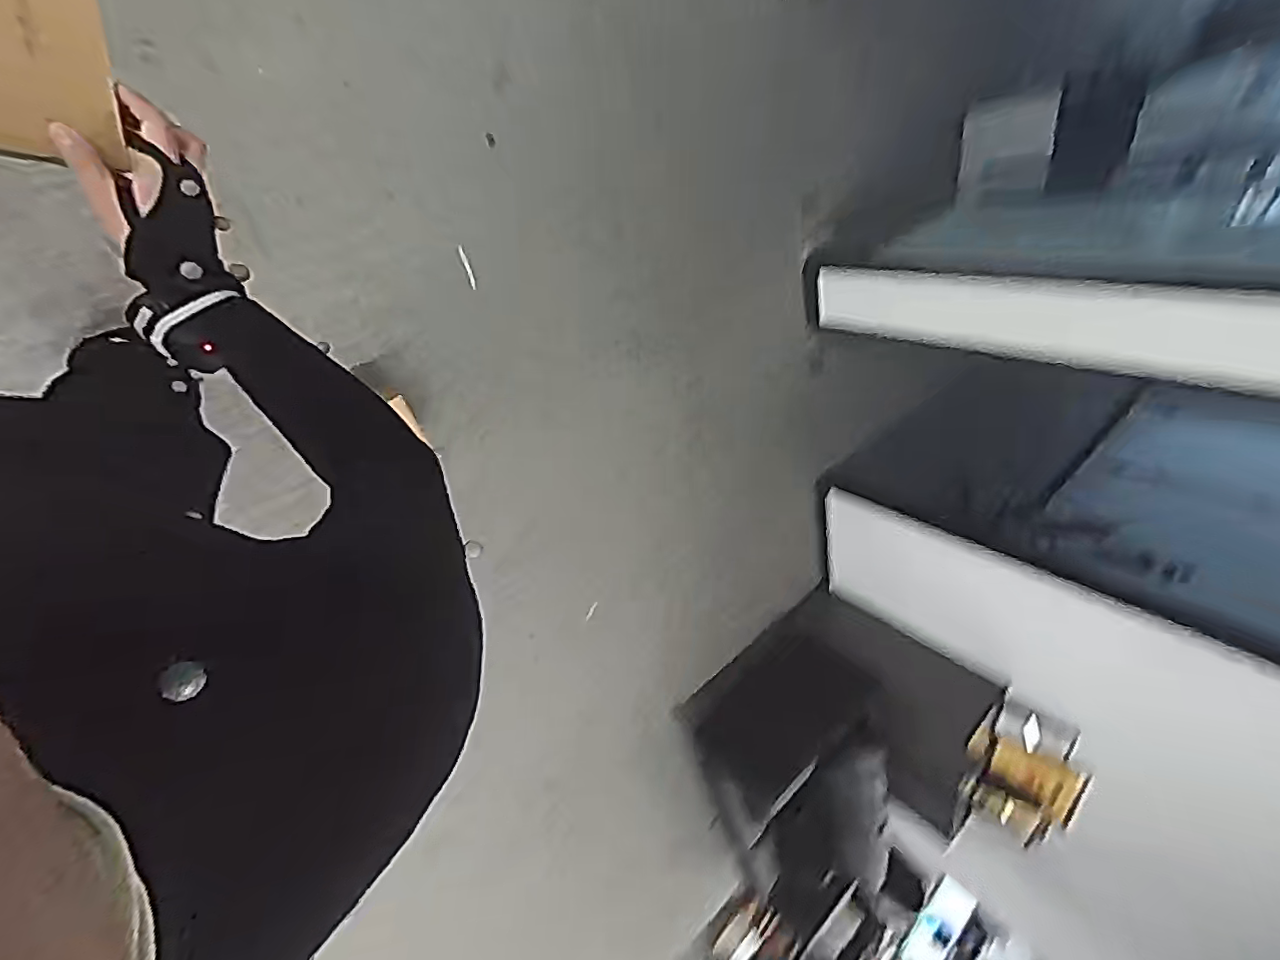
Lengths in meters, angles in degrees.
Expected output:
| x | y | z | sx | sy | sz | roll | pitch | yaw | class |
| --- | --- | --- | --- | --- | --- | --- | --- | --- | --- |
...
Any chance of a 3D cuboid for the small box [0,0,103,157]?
| x | y | z | sx | sy | sz | roll | pitch | yaw | class |
| --- | --- | --- | --- | --- | --- | --- | --- | --- | --- |
| -0.536 | -0.349 | 0.399 | 0.179 | 0.176 | 0.168 | -14 | 120 | -43 | small box |
